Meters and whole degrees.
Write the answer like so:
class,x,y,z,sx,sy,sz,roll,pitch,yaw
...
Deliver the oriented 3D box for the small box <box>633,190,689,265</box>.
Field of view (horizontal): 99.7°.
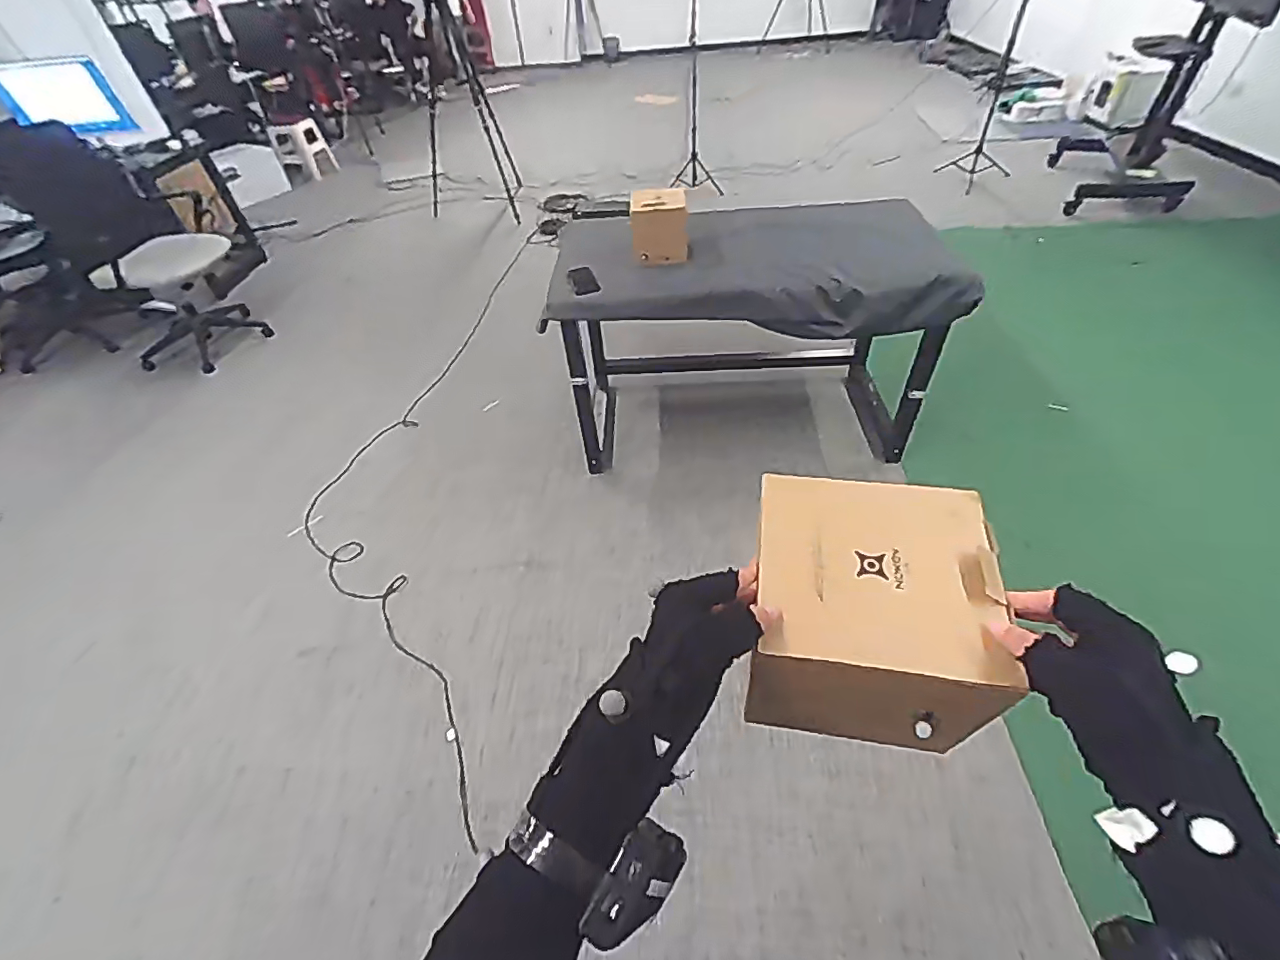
class,x,y,z,sx,sy,sz,roll,pitch,yaw
small box,0.067,-0.785,1.689,0.168,0.176,0.179,-2,45,3
